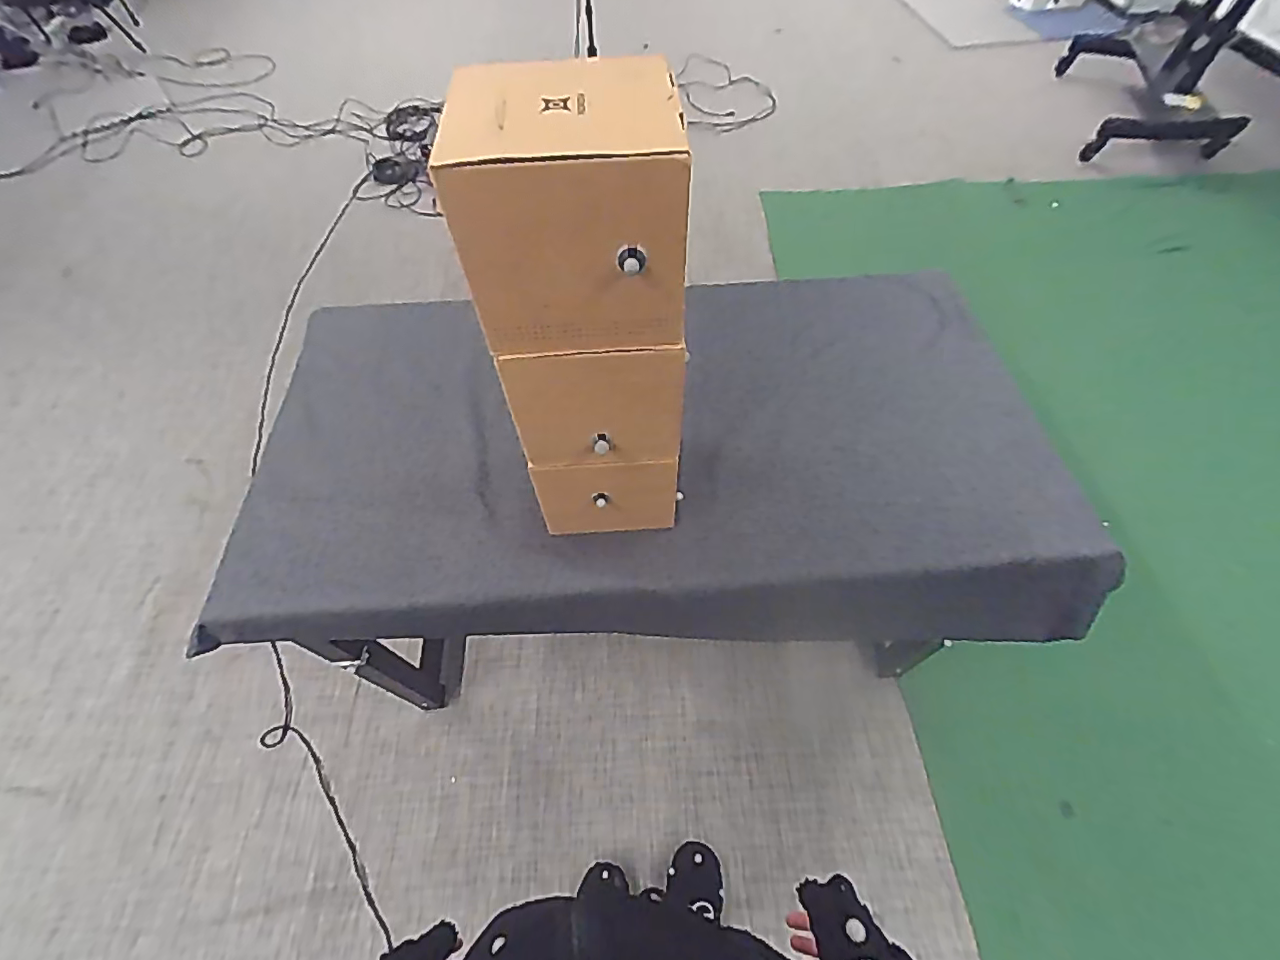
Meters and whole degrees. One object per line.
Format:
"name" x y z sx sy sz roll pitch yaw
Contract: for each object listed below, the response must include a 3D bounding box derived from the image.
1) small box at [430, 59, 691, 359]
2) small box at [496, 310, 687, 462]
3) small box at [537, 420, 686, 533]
"small box" -0.055 -0.224 0.466 0.179 0.176 0.168 -5 56 0
"small box" -0.047 -0.133 0.600 0.179 0.176 0.168 -3 57 -1
"small box" -0.041 -0.041 0.735 0.179 0.176 0.168 -5 58 -3
